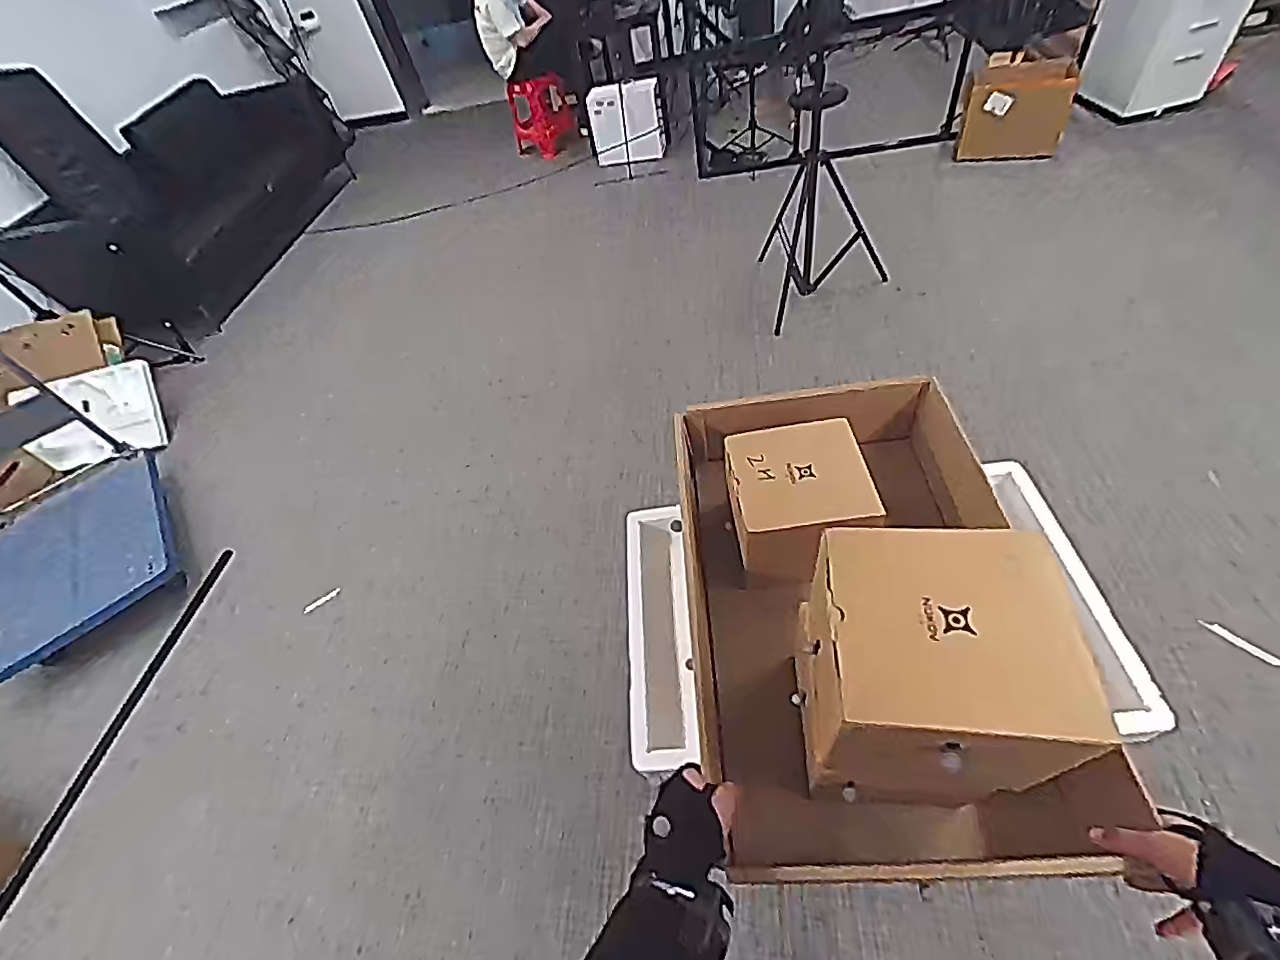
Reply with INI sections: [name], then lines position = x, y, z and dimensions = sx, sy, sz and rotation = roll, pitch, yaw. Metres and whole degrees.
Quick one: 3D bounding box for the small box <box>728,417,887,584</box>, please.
[small box]
position = 0.224, 0.034, 0.777
dimensions = 0.179, 0.176, 0.168
rotation = -8, 52, 4
